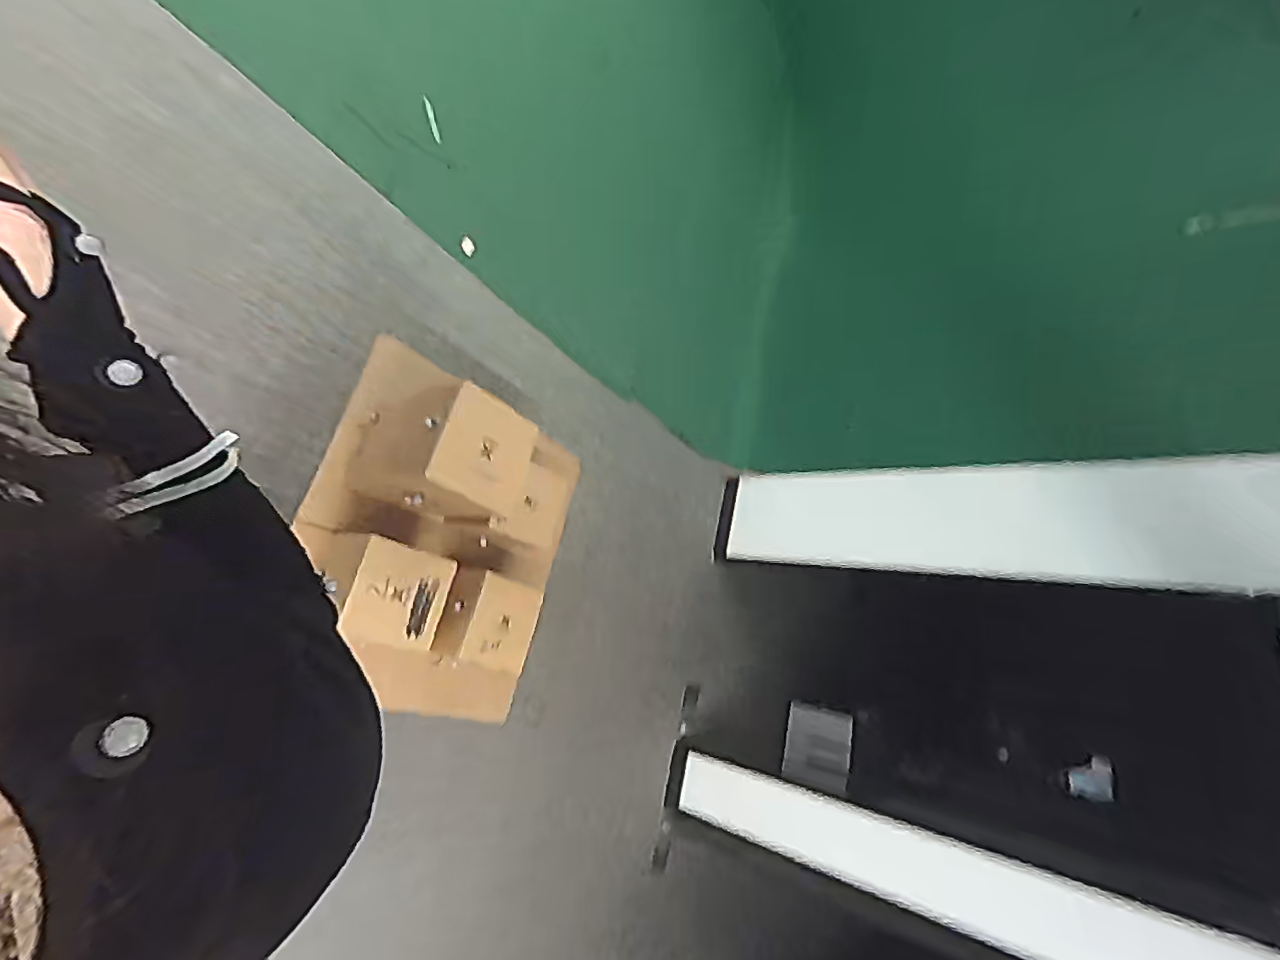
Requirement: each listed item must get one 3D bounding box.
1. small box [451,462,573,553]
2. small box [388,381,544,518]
[{"bbox_3d":[-0.283,0.056,1.206,0.179,0.176,0.168,33,62,-46],"label":"small box"},{"bbox_3d":[-0.301,-0.045,0.936,0.168,0.176,0.179,36,62,-42],"label":"small box"}]
